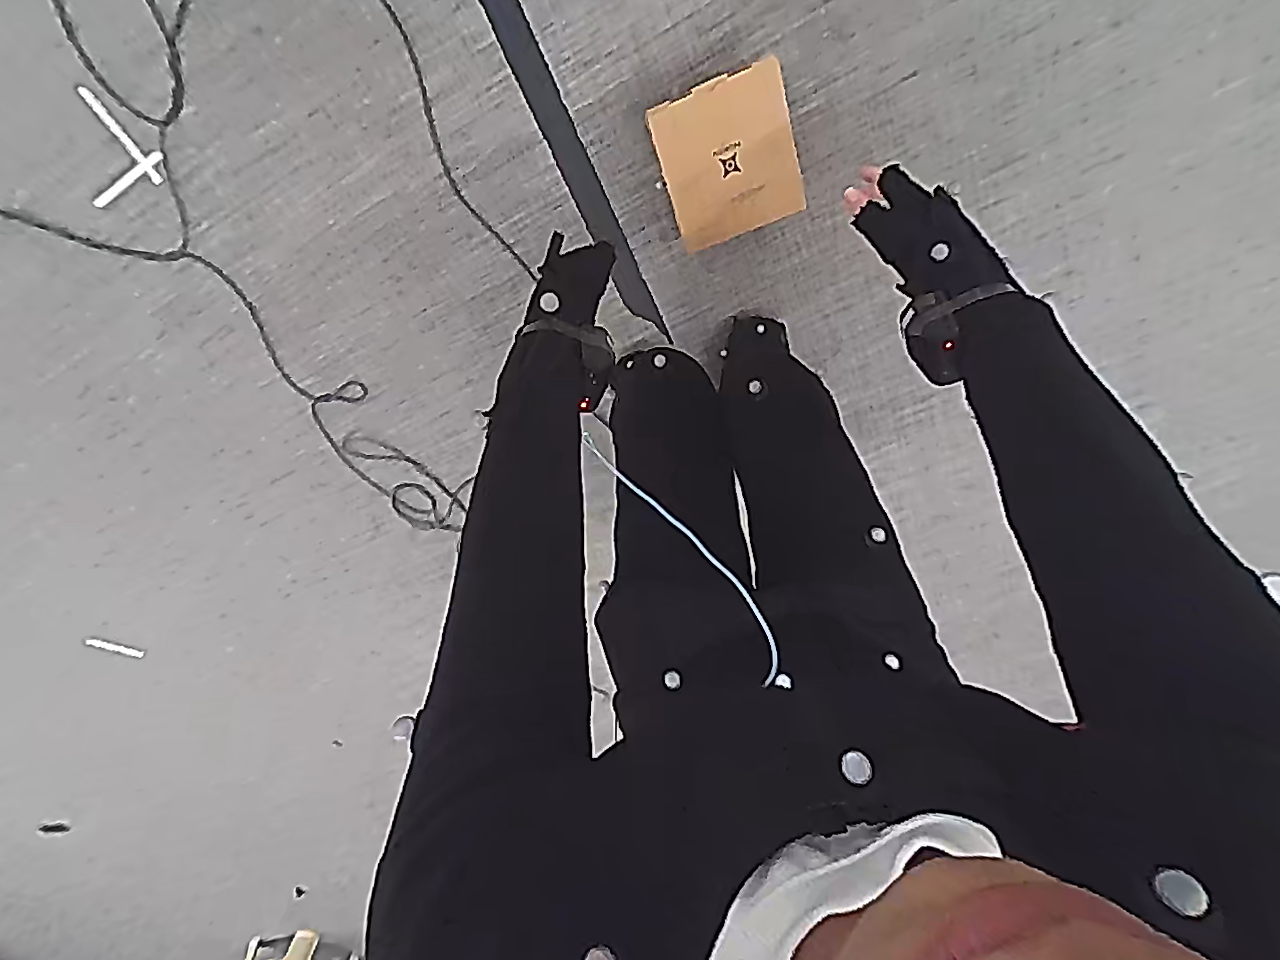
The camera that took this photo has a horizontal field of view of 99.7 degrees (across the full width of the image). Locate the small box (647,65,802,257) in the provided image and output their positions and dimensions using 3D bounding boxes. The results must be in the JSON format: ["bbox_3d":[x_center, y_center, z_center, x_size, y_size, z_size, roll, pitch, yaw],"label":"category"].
[{"bbox_3d":[0.112,-0.439,0.764,0.168,0.176,0.179,-17,119,11],"label":"small box"}]
